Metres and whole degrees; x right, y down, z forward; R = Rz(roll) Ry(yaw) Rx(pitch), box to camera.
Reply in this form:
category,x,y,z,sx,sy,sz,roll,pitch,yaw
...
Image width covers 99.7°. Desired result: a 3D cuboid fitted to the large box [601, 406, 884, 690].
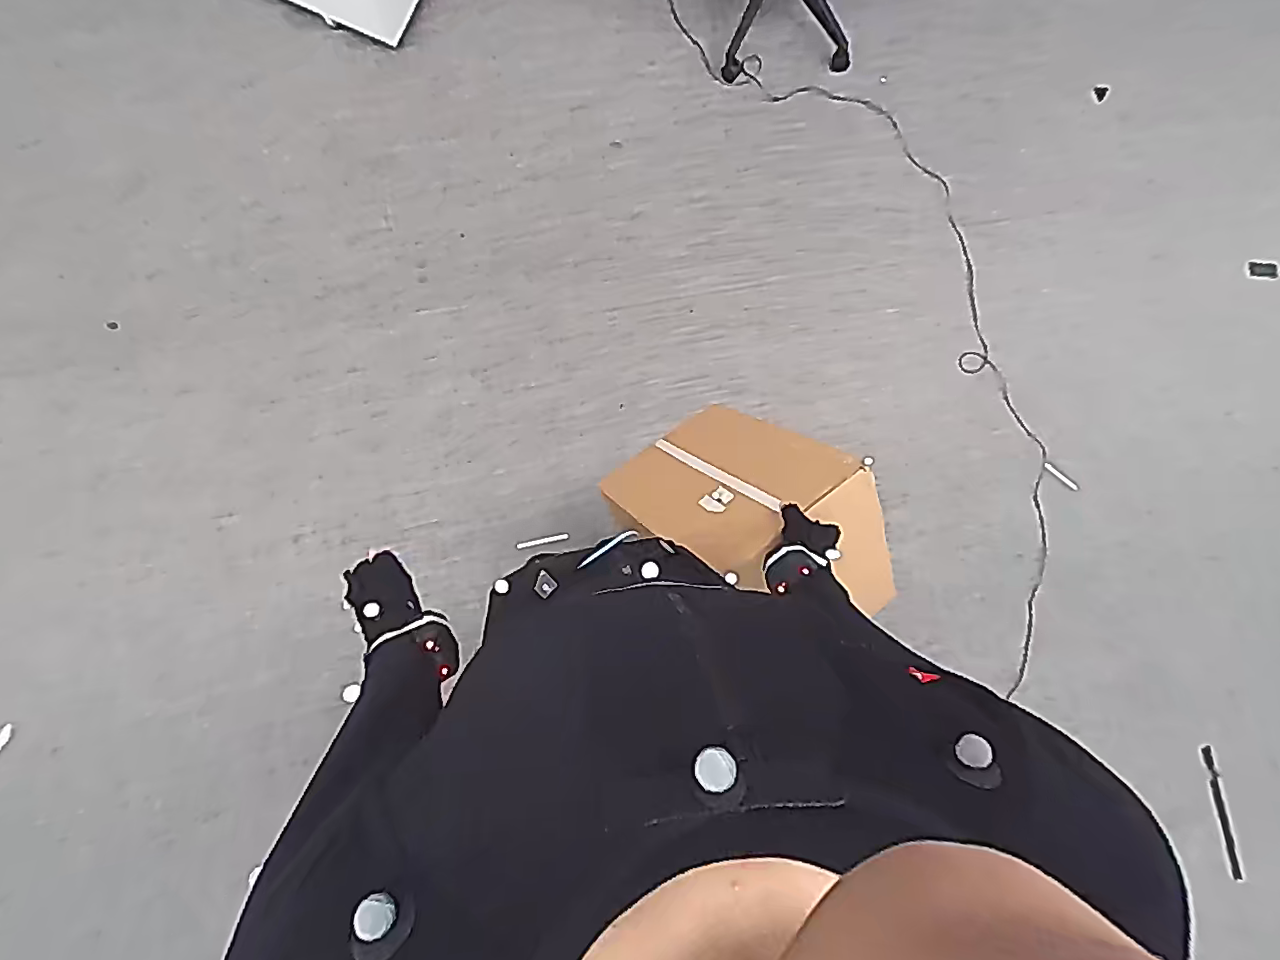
category,x,y,z,sx,sy,sz,roll,pitch,yaw
large box,0.188,0.103,1.039,0.320,0.408,0.320,-35,125,-13
